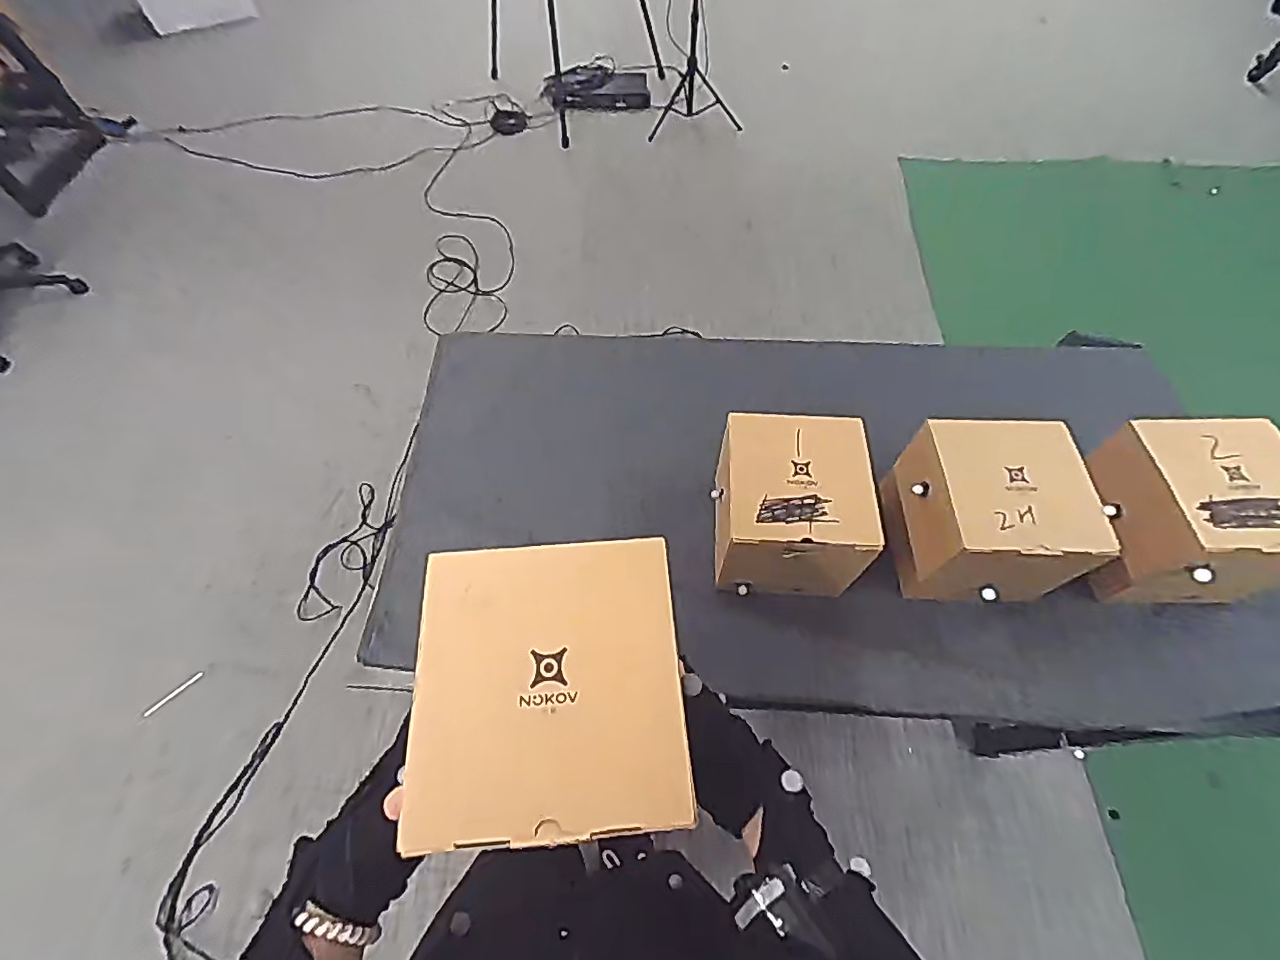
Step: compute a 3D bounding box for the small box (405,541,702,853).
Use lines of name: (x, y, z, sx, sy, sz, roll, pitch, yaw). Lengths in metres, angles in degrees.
small box: (-0.055, 0.161, 0.406, 0.168, 0.176, 0.179, -4, 62, -4)

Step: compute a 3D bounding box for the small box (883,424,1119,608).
small box: (0.430, 0.049, 0.685, 0.168, 0.176, 0.179, 1, 60, 2)

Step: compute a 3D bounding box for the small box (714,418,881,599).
small box: (0.187, 0.043, 0.694, 0.168, 0.176, 0.179, 3, 59, 3)
